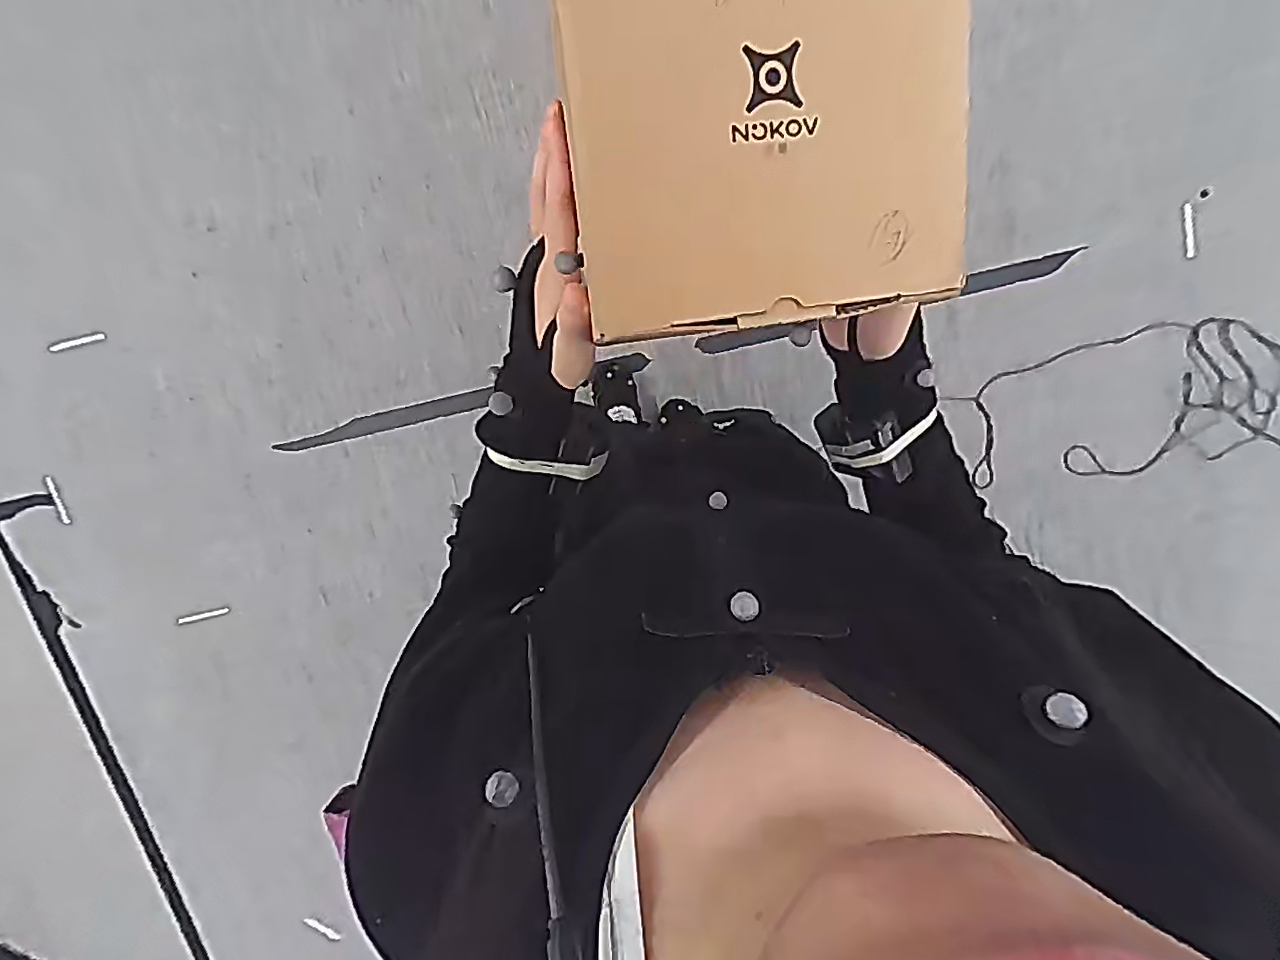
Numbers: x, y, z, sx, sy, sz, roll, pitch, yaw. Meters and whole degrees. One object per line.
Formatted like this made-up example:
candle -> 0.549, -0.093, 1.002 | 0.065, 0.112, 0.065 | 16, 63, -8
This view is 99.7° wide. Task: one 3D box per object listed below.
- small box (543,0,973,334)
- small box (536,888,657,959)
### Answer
small box -> 0.043, -0.176, 0.289 | 0.168, 0.176, 0.179 | -9, 103, -5
small box -> -0.058, 0.758, 0.800 | 0.168, 0.176, 0.179 | -8, 99, 0
